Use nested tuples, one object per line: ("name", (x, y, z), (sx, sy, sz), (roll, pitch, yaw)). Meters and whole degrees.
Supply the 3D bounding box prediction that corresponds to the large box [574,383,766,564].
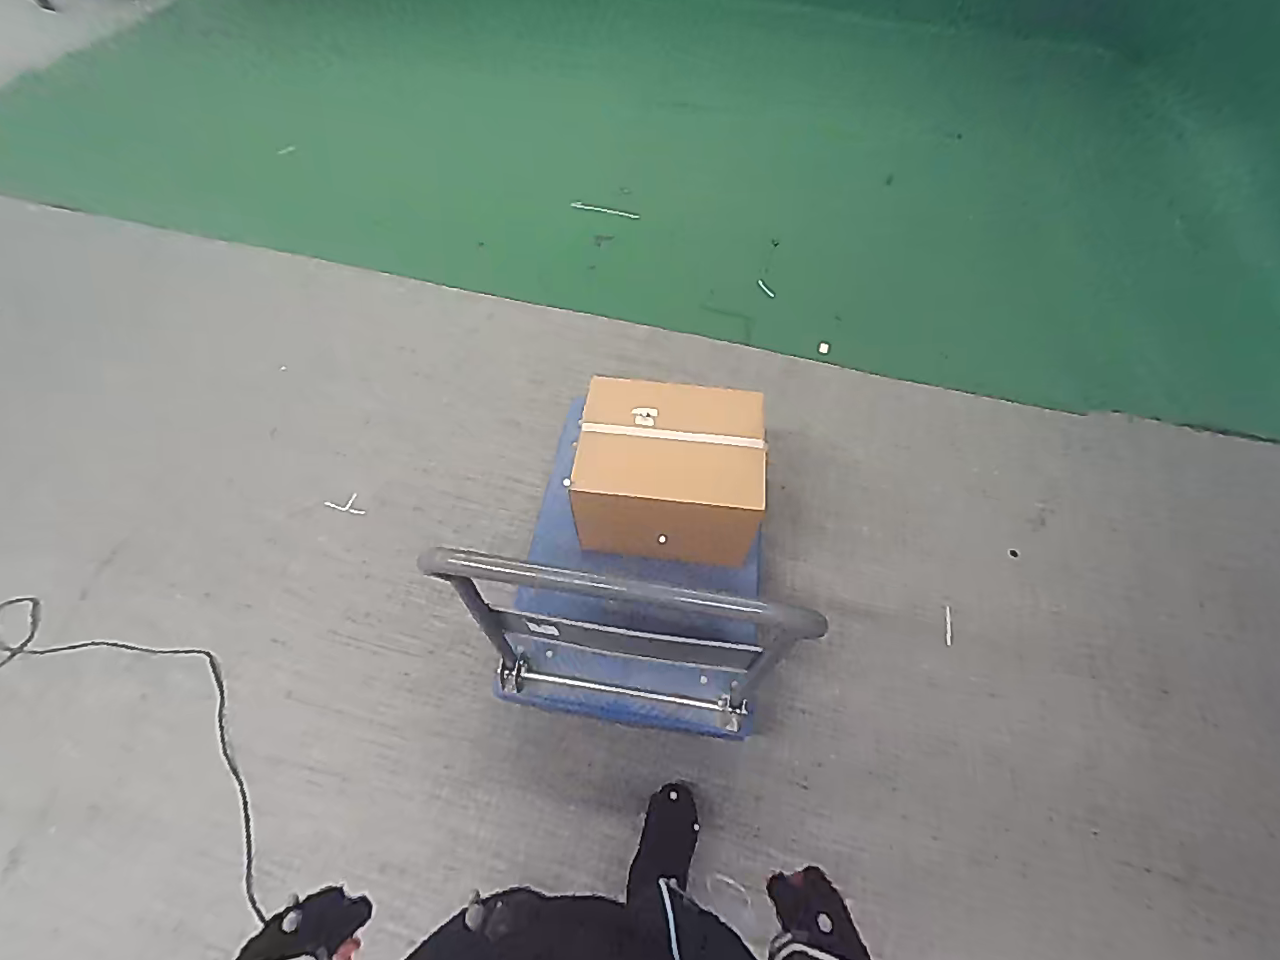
("large box", (0.076, -0.007, 1.314), (0.408, 0.320, 0.320), (6, 58, 3))
